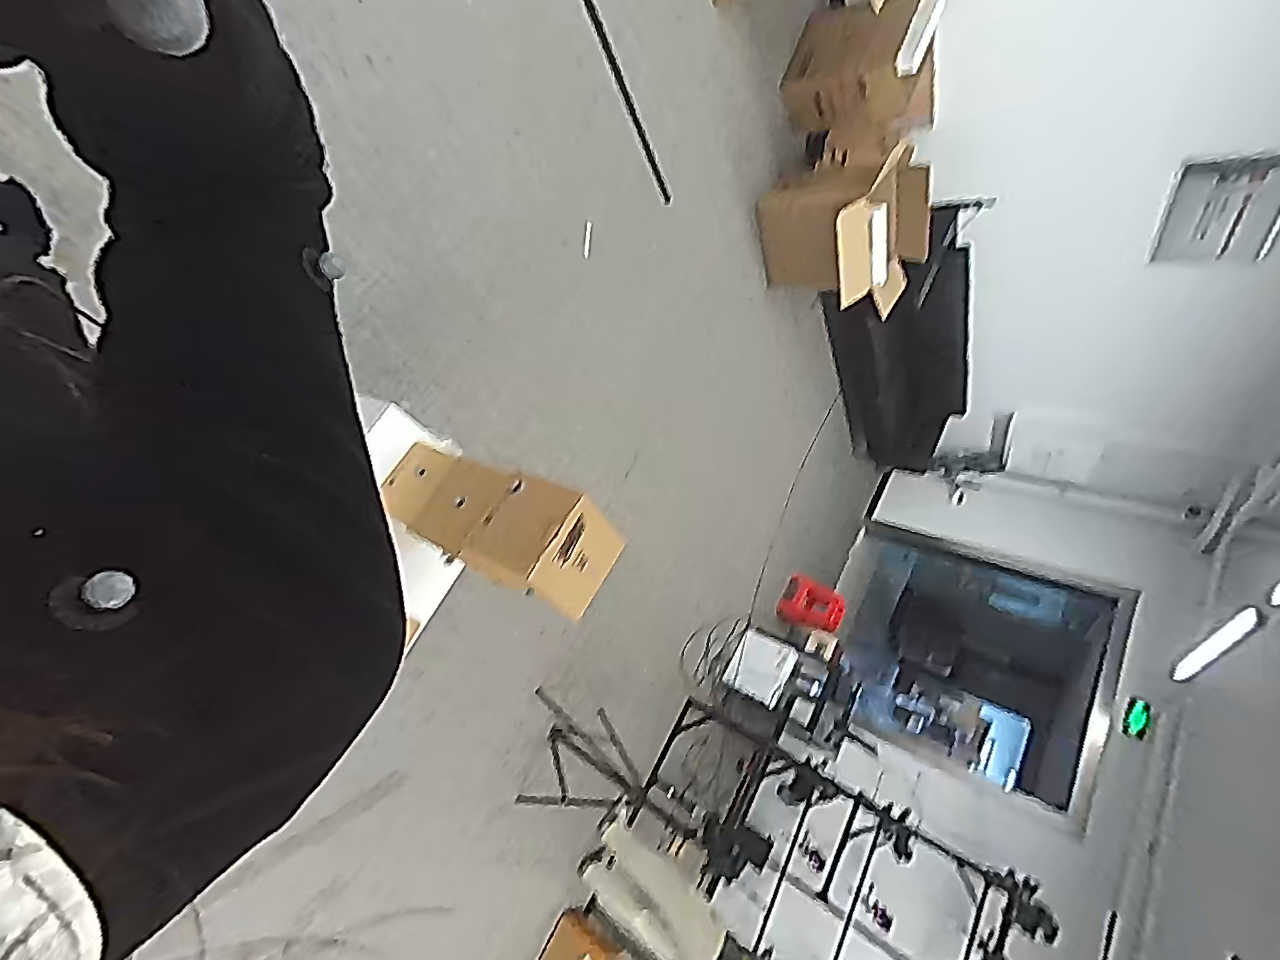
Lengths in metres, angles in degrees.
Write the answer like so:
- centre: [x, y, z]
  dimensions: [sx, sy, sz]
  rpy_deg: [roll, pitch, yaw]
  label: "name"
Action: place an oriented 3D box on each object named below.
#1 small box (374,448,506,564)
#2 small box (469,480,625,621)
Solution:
- centre: [-0.418, 0.049, 1.143]
  dimensions: [0.168, 0.176, 0.179]
  rpy_deg: [-59, 142, -18]
  label: "small box"
- centre: [-0.161, 0.117, 0.948]
  dimensions: [0.168, 0.176, 0.179]
  rpy_deg: [-58, 142, -20]
  label: "small box"
